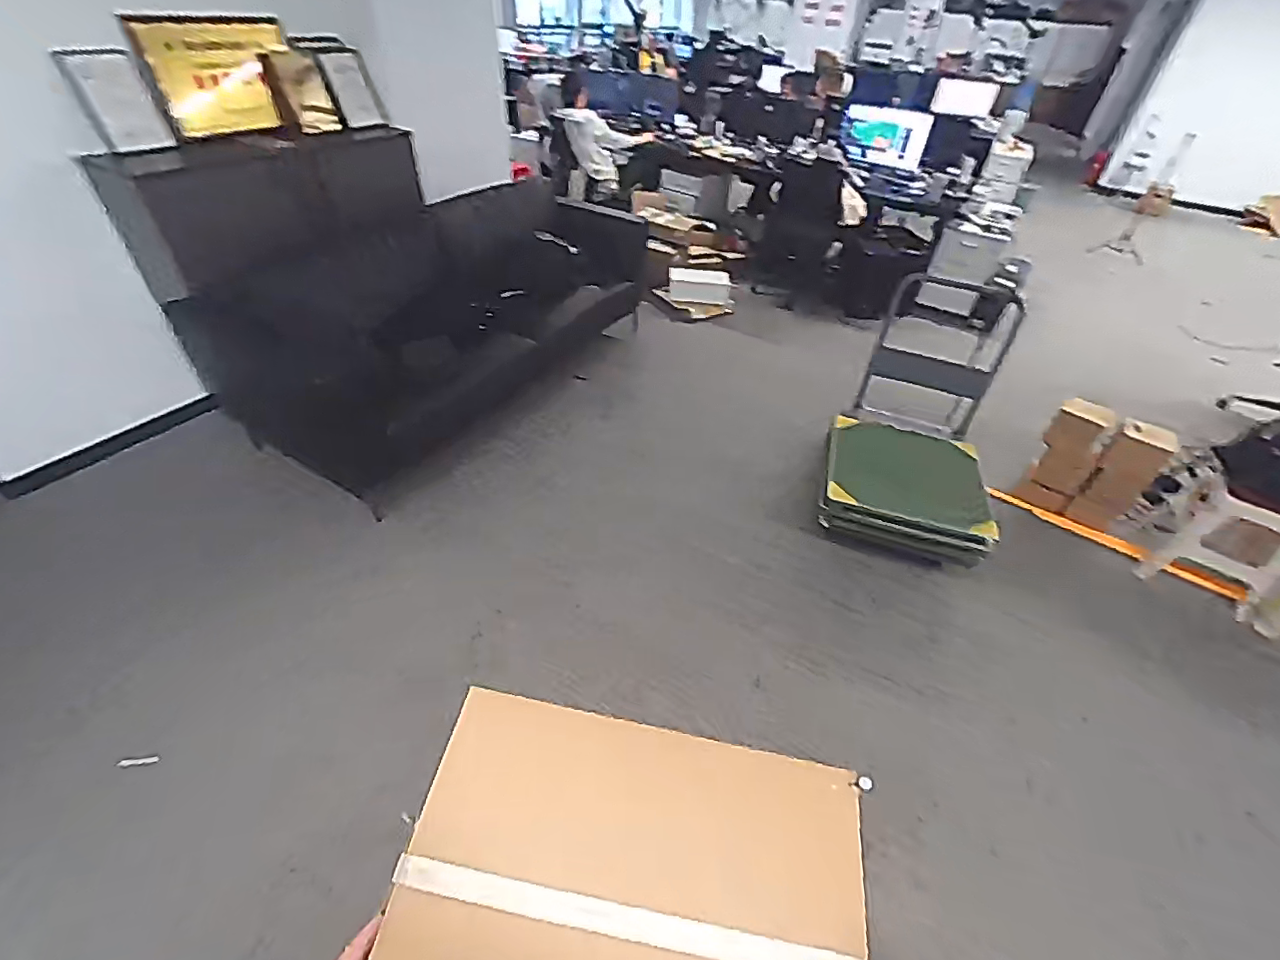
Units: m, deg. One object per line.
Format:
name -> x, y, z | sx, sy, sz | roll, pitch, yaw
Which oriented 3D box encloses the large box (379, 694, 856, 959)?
large box -> -0.024, 0.466, 0.586 | 0.408, 0.320, 0.320 | 11, 52, 1
